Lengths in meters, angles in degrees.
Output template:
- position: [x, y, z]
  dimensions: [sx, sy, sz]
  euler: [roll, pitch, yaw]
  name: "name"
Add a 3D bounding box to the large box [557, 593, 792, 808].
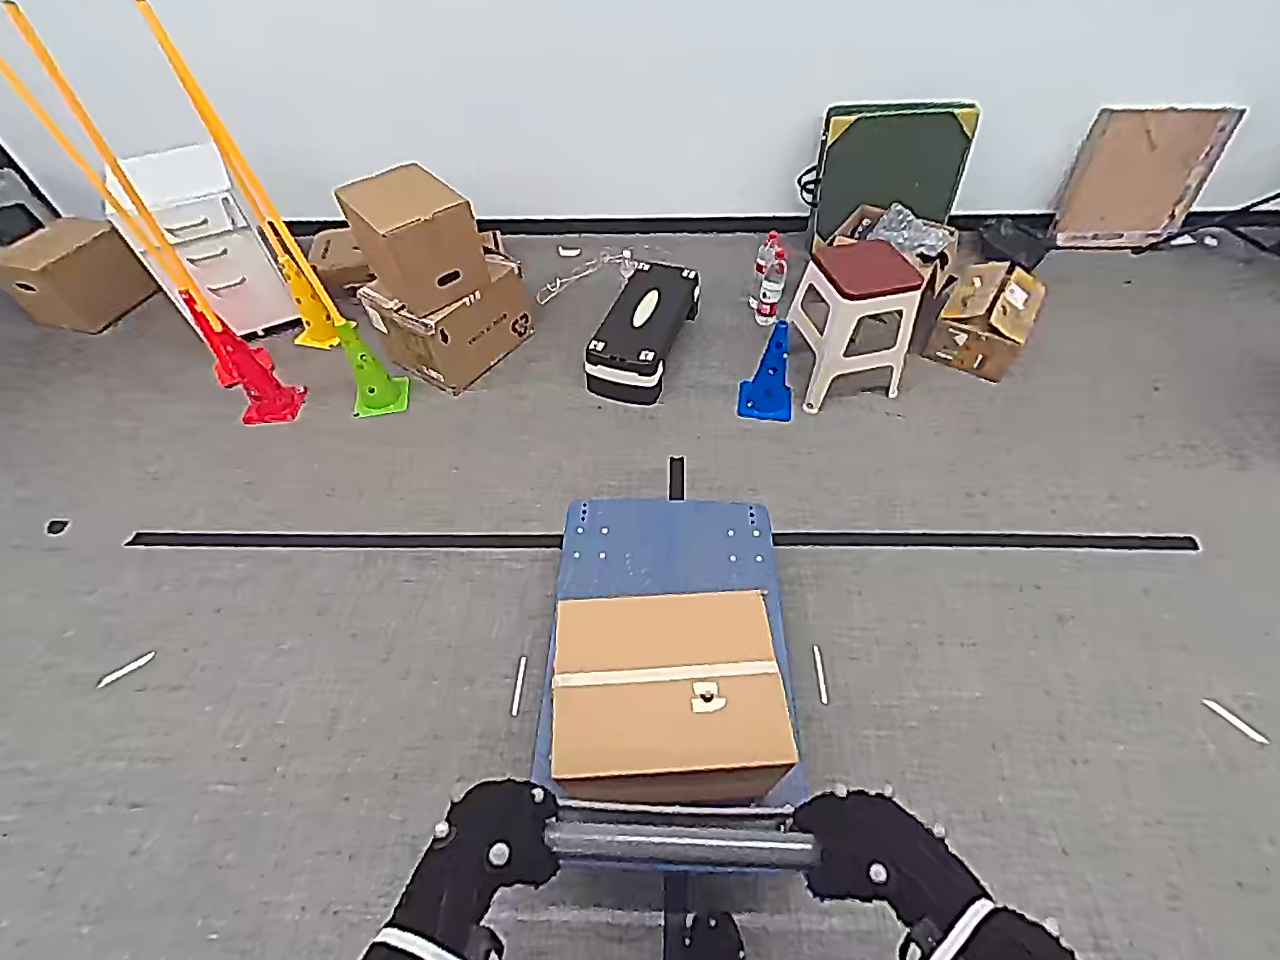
- position: [0.047, 0.453, 1.102]
  dimensions: [0.408, 0.320, 0.320]
  euler: [-3, 52, -3]
  name: "large box"
